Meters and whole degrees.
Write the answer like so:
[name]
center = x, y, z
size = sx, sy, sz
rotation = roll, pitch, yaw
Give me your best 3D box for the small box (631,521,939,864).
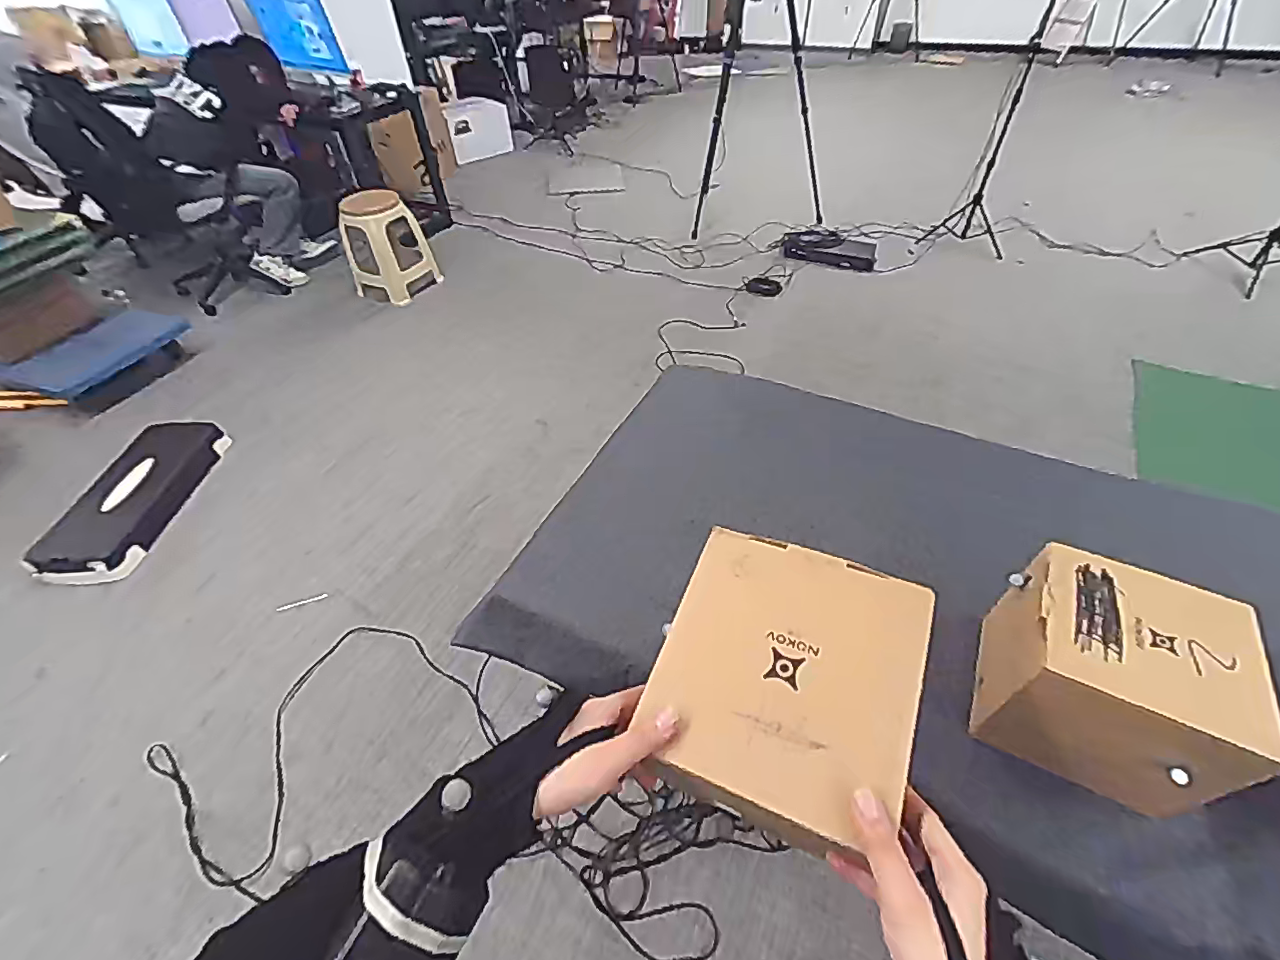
[small box]
center = 0.111, 0.166, 0.425
size = 0.168, 0.176, 0.179
rotation = 16, 59, 21
